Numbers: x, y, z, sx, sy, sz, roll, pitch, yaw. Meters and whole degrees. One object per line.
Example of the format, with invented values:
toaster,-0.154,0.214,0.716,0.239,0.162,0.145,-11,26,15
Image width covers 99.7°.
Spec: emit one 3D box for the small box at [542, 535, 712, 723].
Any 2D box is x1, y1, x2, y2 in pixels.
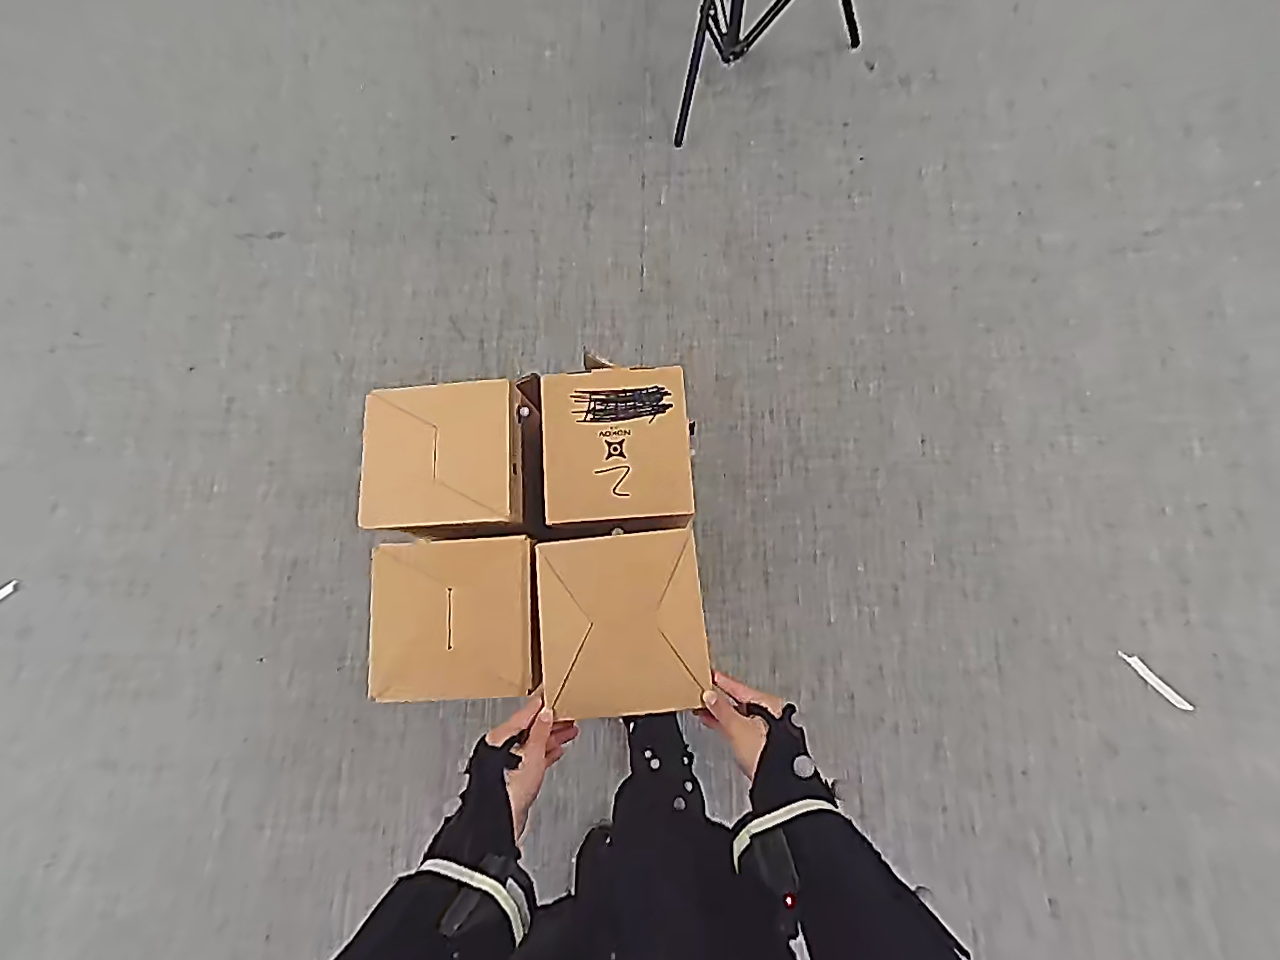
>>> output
small box,-0.014,0.167,0.621,0.168,0.176,0.179,-6,77,0
